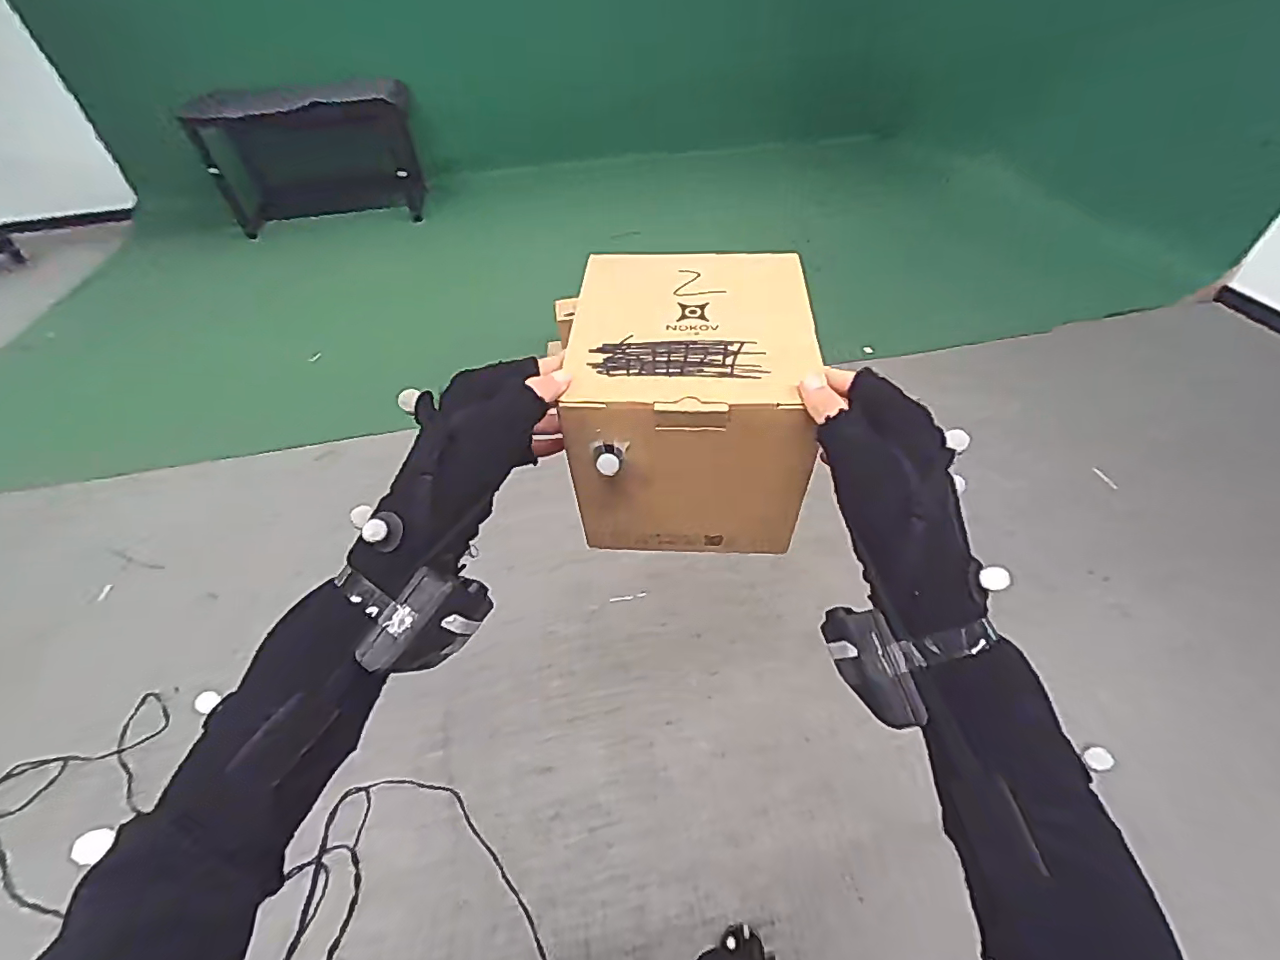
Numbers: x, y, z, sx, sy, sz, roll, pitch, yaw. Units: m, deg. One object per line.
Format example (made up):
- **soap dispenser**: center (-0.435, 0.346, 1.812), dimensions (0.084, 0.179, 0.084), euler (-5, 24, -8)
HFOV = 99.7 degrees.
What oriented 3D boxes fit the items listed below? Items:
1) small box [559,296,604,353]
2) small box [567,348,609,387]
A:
- **small box**: center (-0.249, -0.655, 2.301), dimensions (0.168, 0.176, 0.179), euler (-8, 46, -3)
- **small box**: center (-0.238, -0.542, 2.420), dimensions (0.168, 0.176, 0.179), euler (-10, 47, -4)
